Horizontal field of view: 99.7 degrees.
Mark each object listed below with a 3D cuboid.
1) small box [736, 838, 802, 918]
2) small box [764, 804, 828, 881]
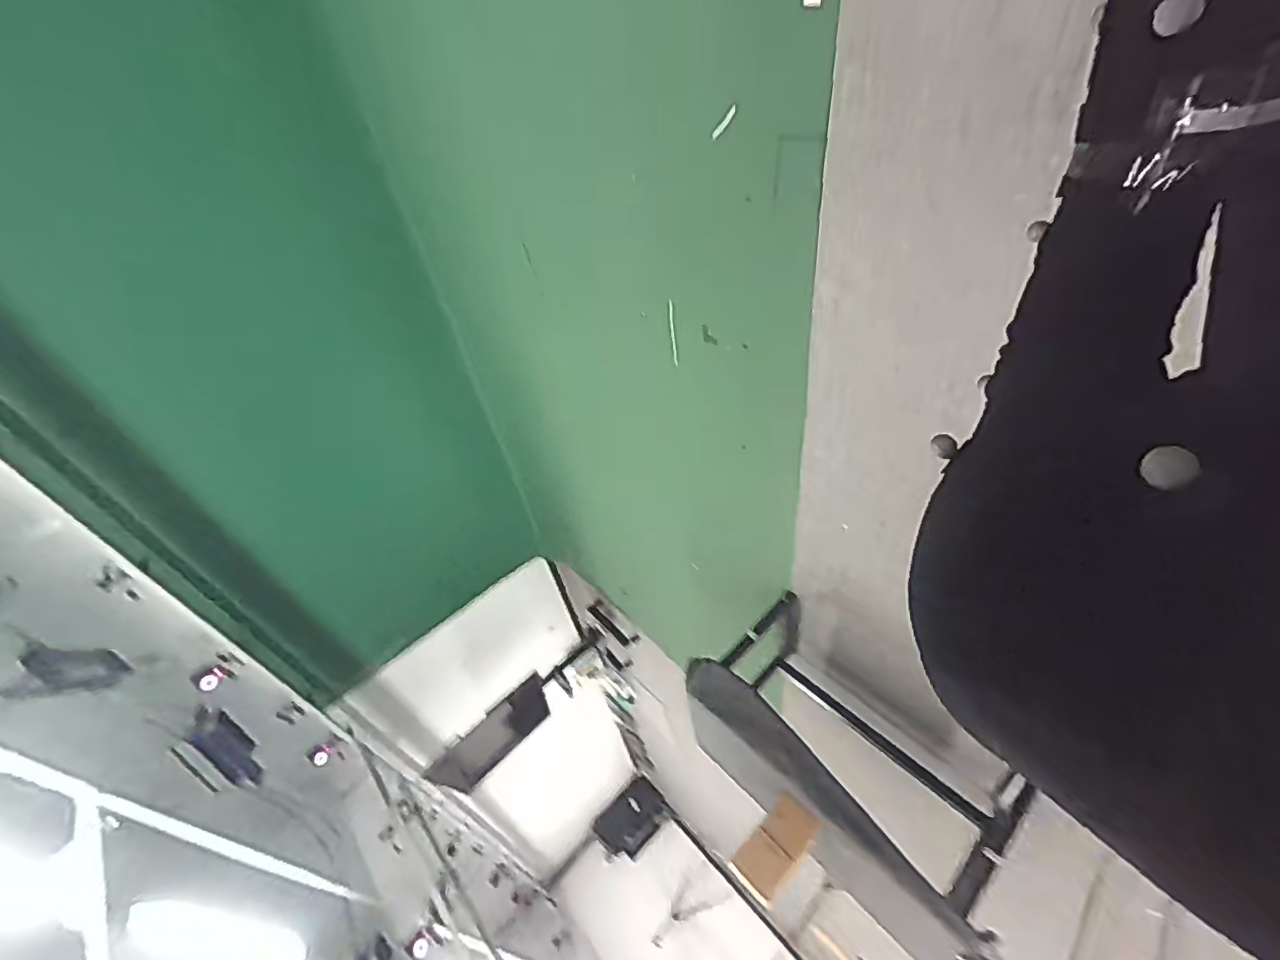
[{"bbox_3d":[0.482,1.483,2.028,0.179,0.176,0.168,34,150,38],"label":"small box"},{"bbox_3d":[0.603,1.396,2.096,0.179,0.176,0.168,31,148,38],"label":"small box"}]
